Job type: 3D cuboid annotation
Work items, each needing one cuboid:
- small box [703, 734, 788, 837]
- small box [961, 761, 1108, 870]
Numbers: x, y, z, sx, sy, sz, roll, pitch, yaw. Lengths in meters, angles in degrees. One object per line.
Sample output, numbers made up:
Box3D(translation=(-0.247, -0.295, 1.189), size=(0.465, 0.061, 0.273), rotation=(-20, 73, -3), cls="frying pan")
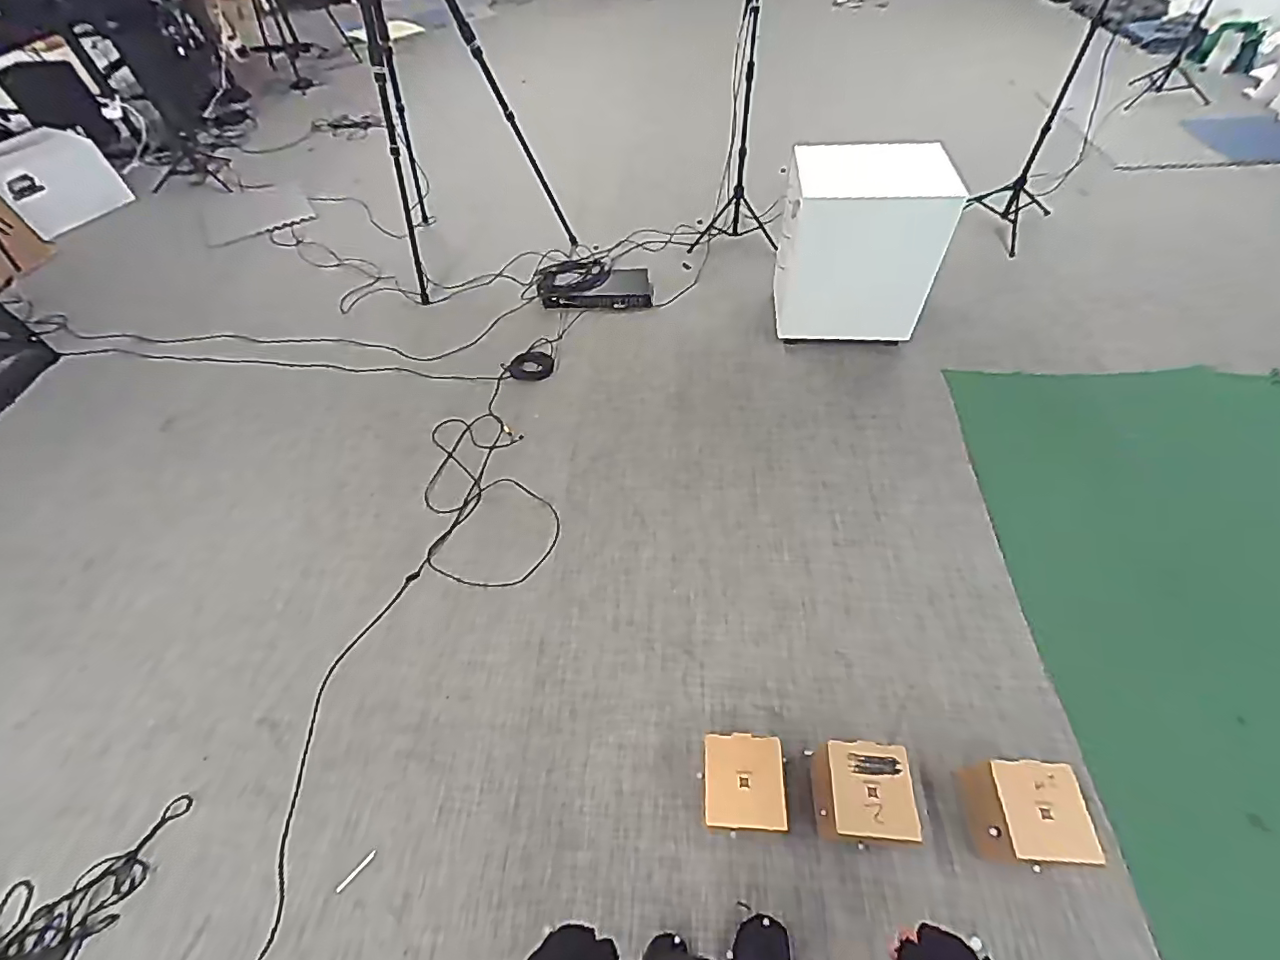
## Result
Box3D(translation=(0.226, 0.678, 1.195), size=(0.168, 0.176, 0.179), rotation=(1, 52, 5), cls="small box")
Box3D(translation=(0.812, 0.707, 1.137), size=(0.168, 0.176, 0.179), rotation=(2, 53, 4), cls="small box")
